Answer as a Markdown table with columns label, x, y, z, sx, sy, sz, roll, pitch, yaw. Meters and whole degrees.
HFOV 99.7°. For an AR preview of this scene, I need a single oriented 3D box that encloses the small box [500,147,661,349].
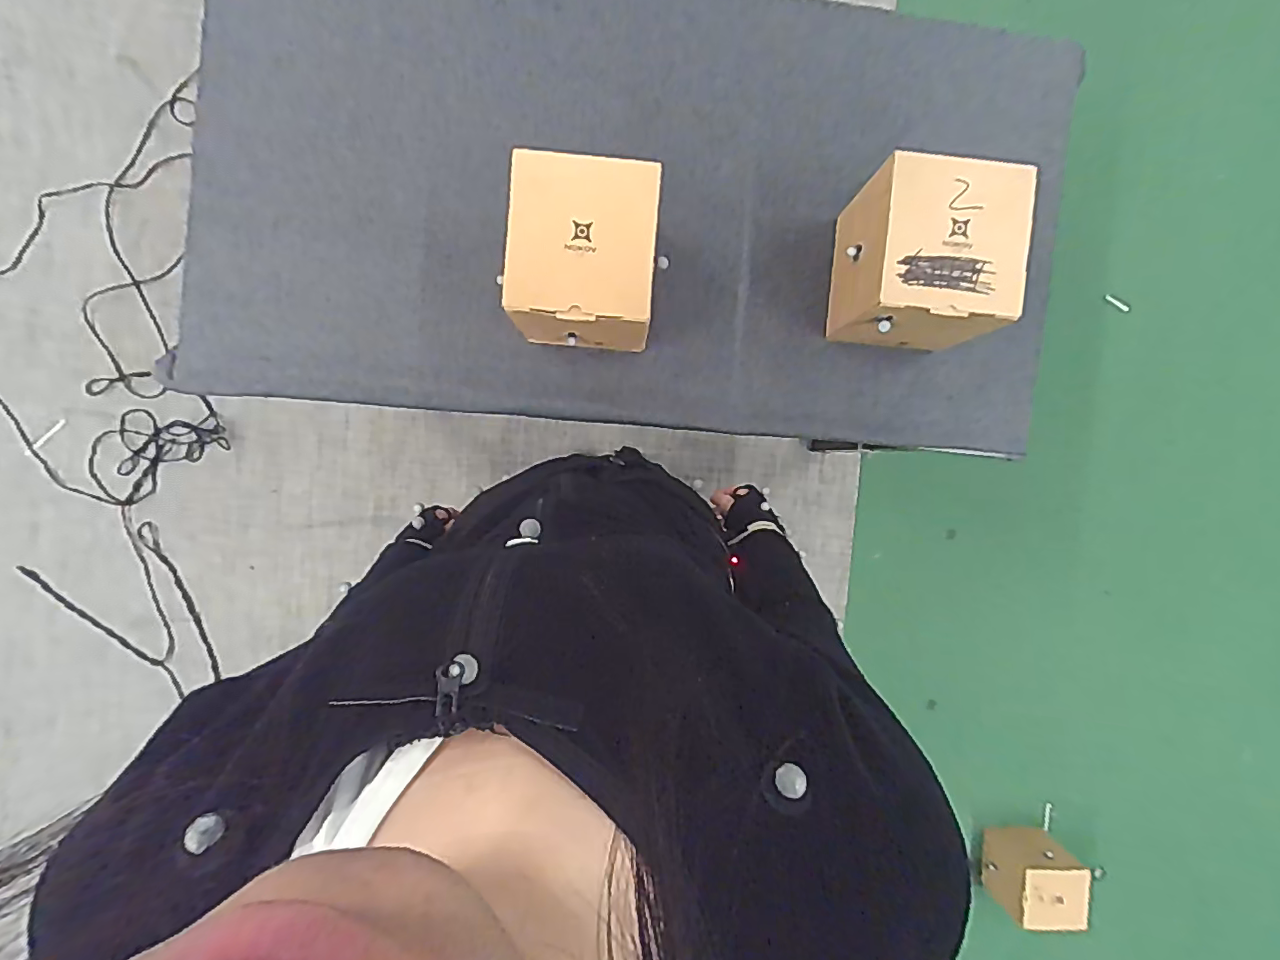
| label | x | y | z | sx | sy | sz | roll | pitch | yaw |
| --- | --- | --- | --- | --- | --- | --- | --- | --- | --- |
| small box | -0.071 | -0.273 | 0.674 | 0.168 | 0.176 | 0.179 | 5 | 93 | -3 |

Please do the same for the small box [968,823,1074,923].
| label | x | y | z | sx | sy | sz | roll | pitch | yaw |
| --- | --- | --- | --- | --- | --- | --- | --- | --- | --- |
| small box | 1.066 | 1.097 | 1.521 | 0.179 | 0.176 | 0.168 | 2 | 92 | -3 |
